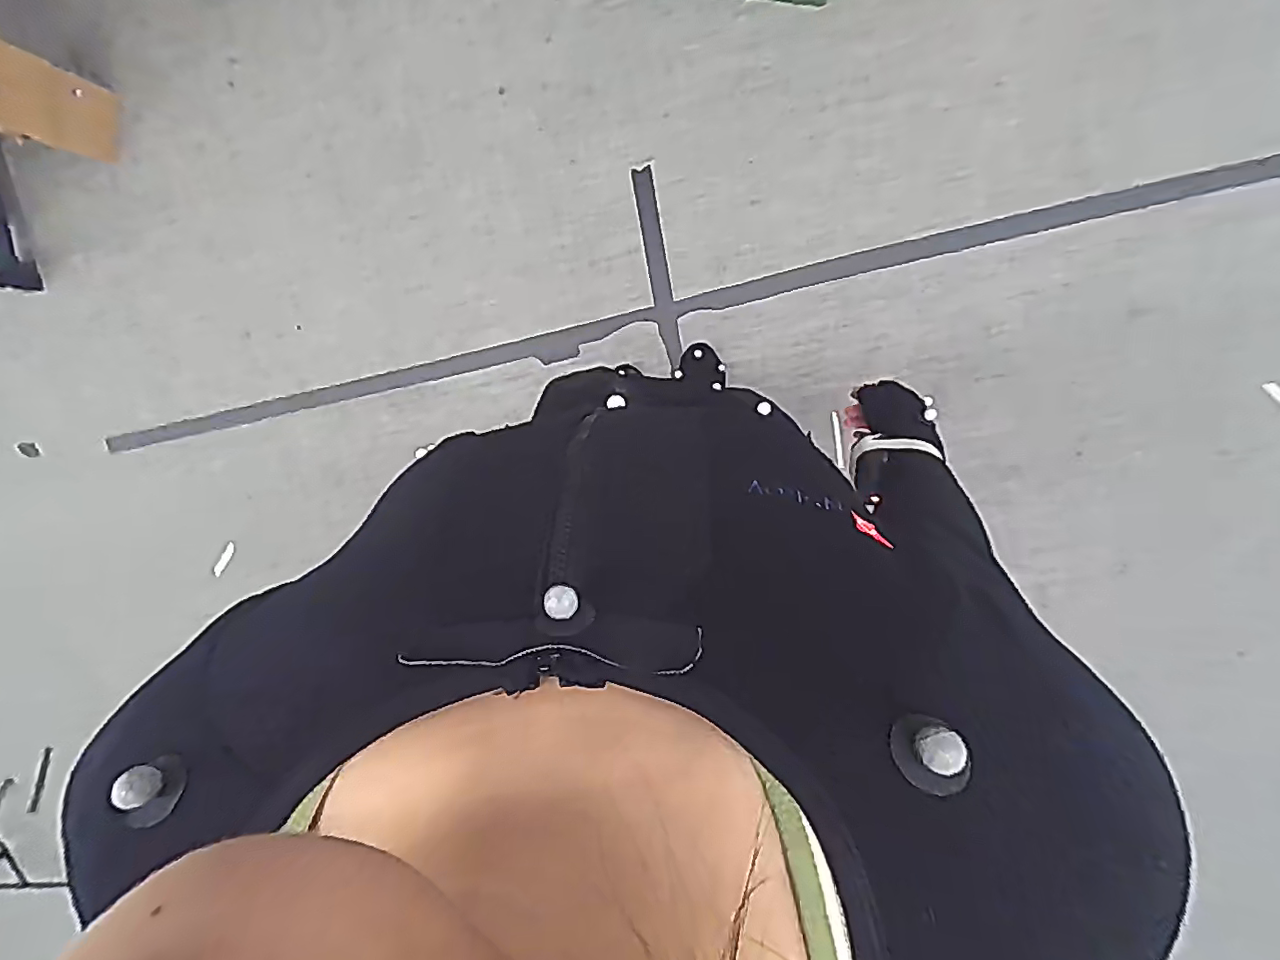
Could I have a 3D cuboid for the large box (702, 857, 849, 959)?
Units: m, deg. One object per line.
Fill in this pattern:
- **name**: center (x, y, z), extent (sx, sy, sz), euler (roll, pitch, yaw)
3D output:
- **large box**: center (0.403, 1.424, 1.670), extent (0.408, 0.320, 0.320), euler (-3, 103, 6)
